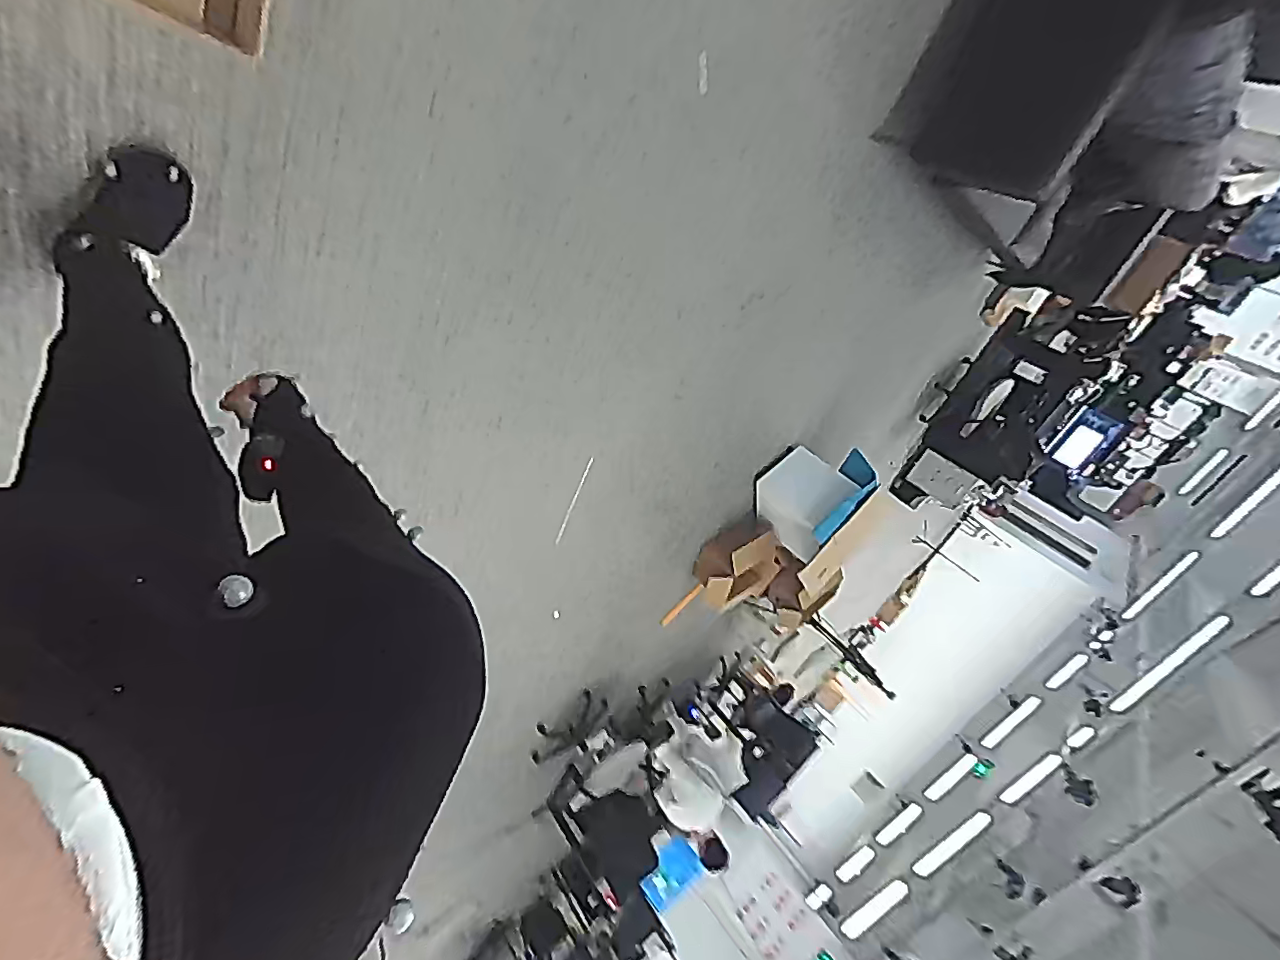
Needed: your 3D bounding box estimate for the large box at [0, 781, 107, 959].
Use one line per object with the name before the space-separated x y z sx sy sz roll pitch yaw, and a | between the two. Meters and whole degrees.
large box | -1.731 1.144 1.513 0.320 0.320 0.408 -4 129 -46
